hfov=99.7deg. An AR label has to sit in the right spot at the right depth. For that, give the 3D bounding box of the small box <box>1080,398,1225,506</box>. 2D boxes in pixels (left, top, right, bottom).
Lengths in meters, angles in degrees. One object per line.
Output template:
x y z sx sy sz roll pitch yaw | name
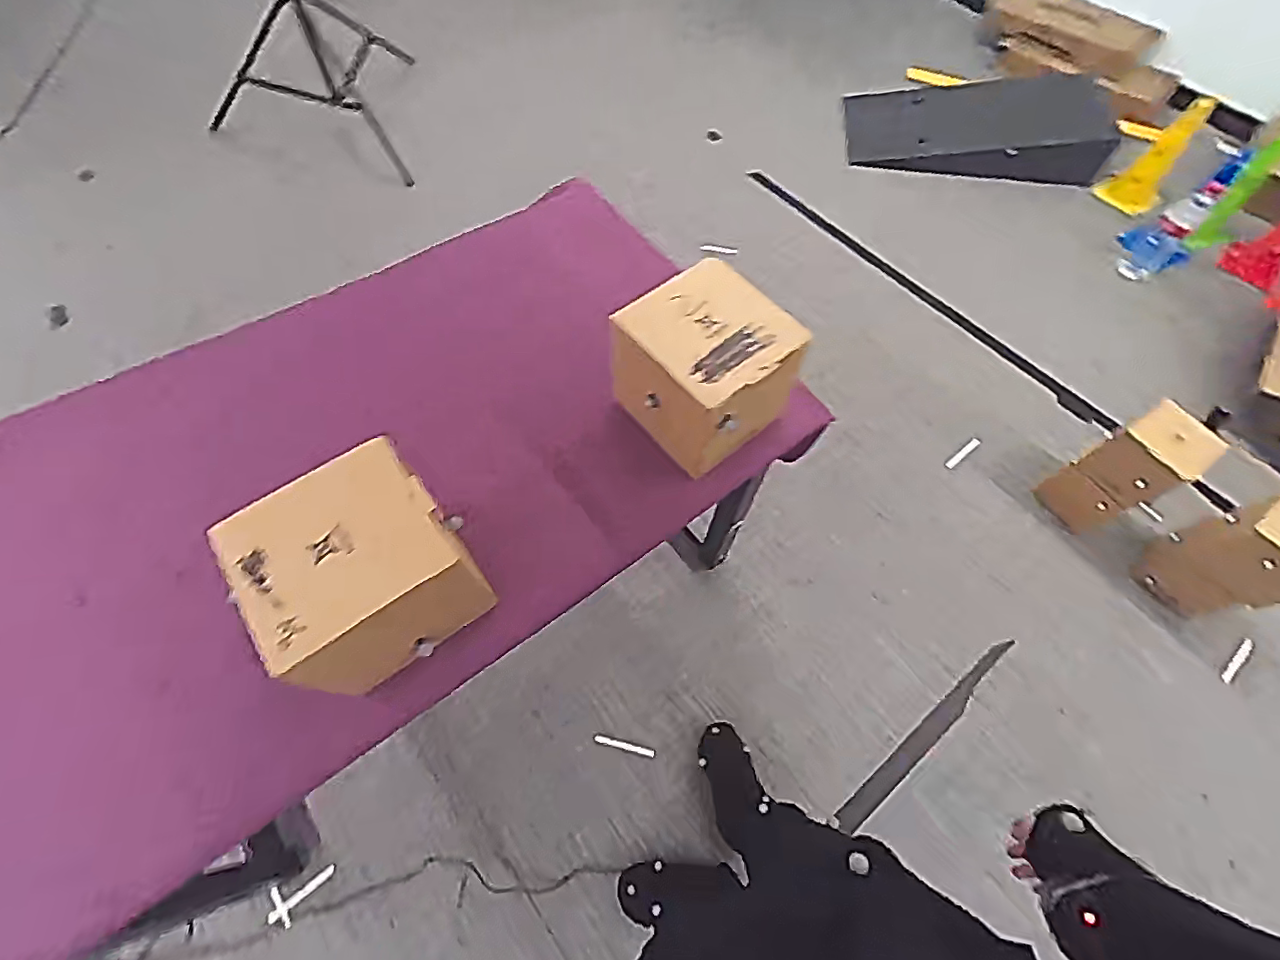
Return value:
1.248 -0.063 1.335 0.179 0.176 0.168 -31 70 -17 | small box

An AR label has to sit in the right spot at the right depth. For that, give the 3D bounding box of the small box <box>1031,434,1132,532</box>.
1.234 0.012 1.479 0.168 0.176 0.179 -30 68 -16 | small box

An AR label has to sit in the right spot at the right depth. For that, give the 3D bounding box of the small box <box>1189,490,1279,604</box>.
1.430 0.156 1.226 0.168 0.176 0.179 -34 70 -17 | small box

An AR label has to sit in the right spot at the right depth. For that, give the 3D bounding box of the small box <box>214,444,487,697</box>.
-0.277 0.100 0.563 0.179 0.176 0.168 -33 69 -18 | small box

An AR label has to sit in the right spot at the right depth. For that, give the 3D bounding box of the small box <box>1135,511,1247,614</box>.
1.435 0.217 1.380 0.179 0.176 0.168 -36 70 -19 | small box
